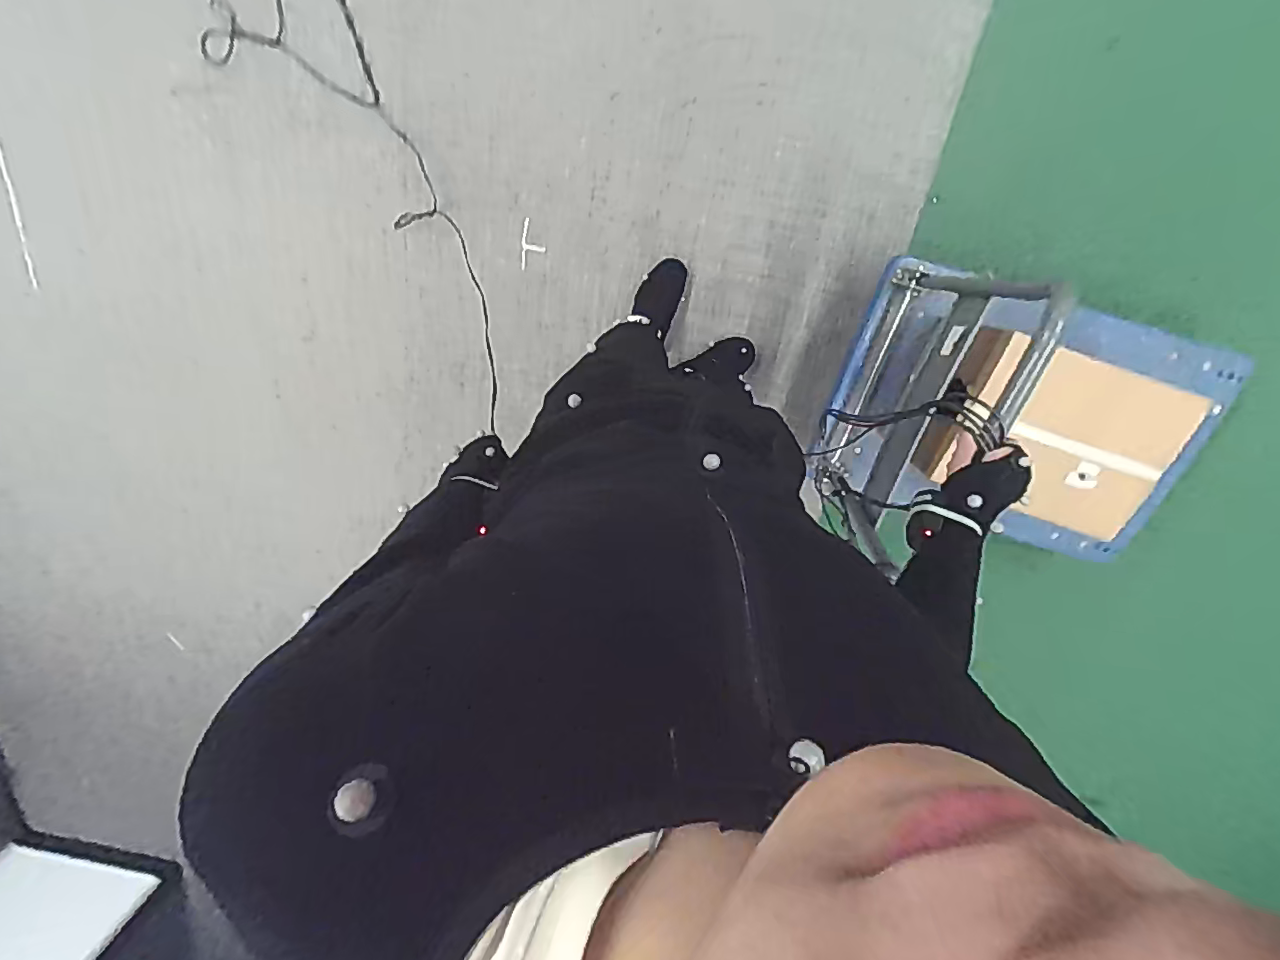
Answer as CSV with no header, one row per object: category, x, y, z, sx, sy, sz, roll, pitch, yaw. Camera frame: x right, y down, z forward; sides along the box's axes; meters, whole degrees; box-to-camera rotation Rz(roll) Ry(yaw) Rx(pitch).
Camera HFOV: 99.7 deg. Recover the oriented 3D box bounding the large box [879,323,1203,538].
large box,0.821,-0.125,1.184,0.408,0.320,0.320,19,113,-3
